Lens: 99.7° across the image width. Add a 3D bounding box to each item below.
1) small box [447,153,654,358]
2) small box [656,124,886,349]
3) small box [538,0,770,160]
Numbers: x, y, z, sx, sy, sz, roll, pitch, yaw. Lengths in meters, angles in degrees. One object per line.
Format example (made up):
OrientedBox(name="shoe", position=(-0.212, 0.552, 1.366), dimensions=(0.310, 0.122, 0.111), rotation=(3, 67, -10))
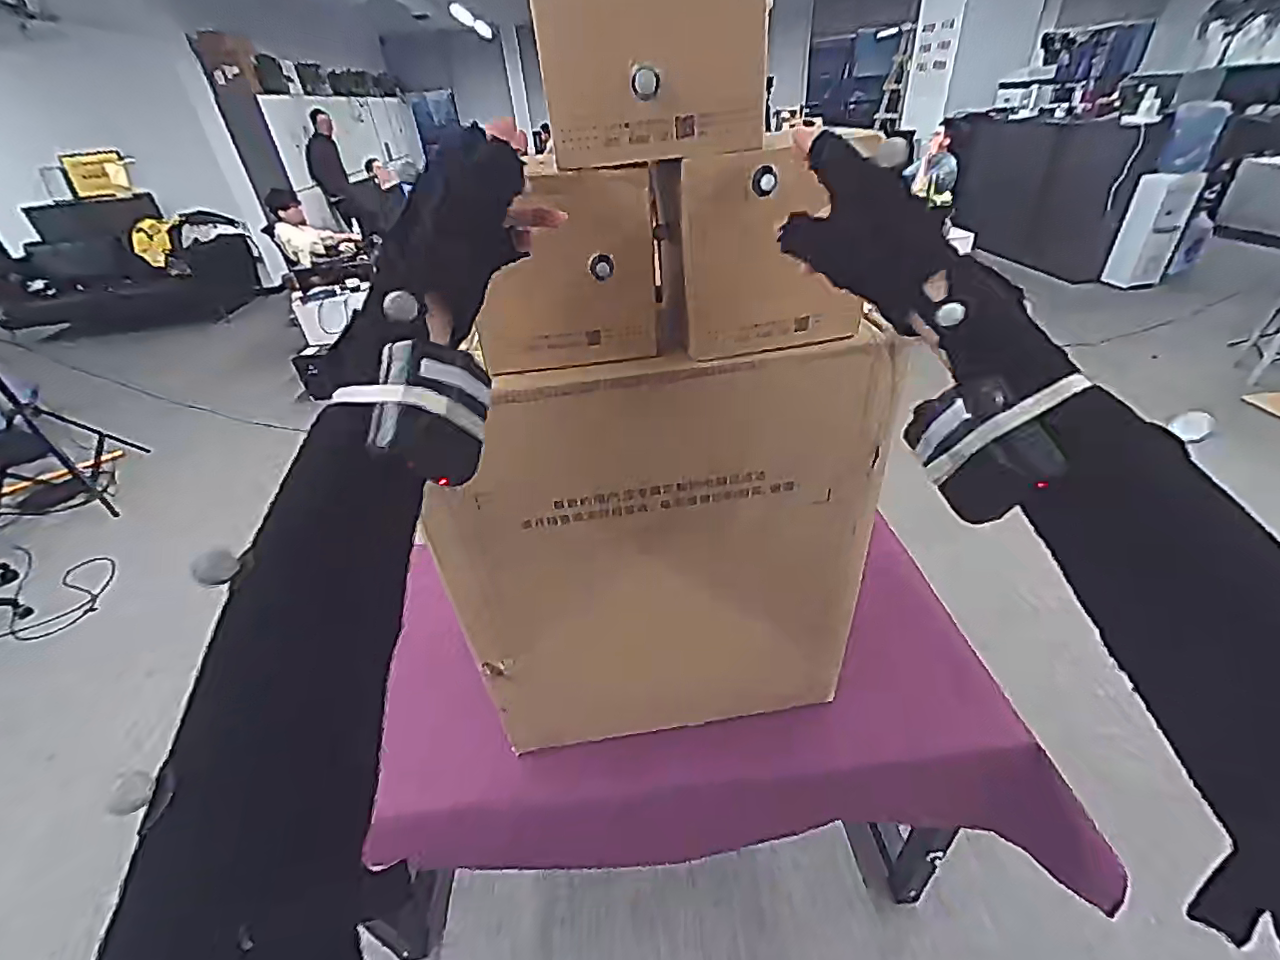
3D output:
OrientedBox(name="small box", position=(-0.080, -0.226, 0.542), dimensions=(0.168, 0.176, 0.179), rotation=(-7, 33, -6))
OrientedBox(name="small box", position=(0.111, -0.242, 0.535), dimensions=(0.168, 0.176, 0.179), rotation=(-10, 34, -4))
OrientedBox(name="small box", position=(0.011, -0.370, 0.447), dimensions=(0.168, 0.176, 0.179), rotation=(-4, 35, 4))
